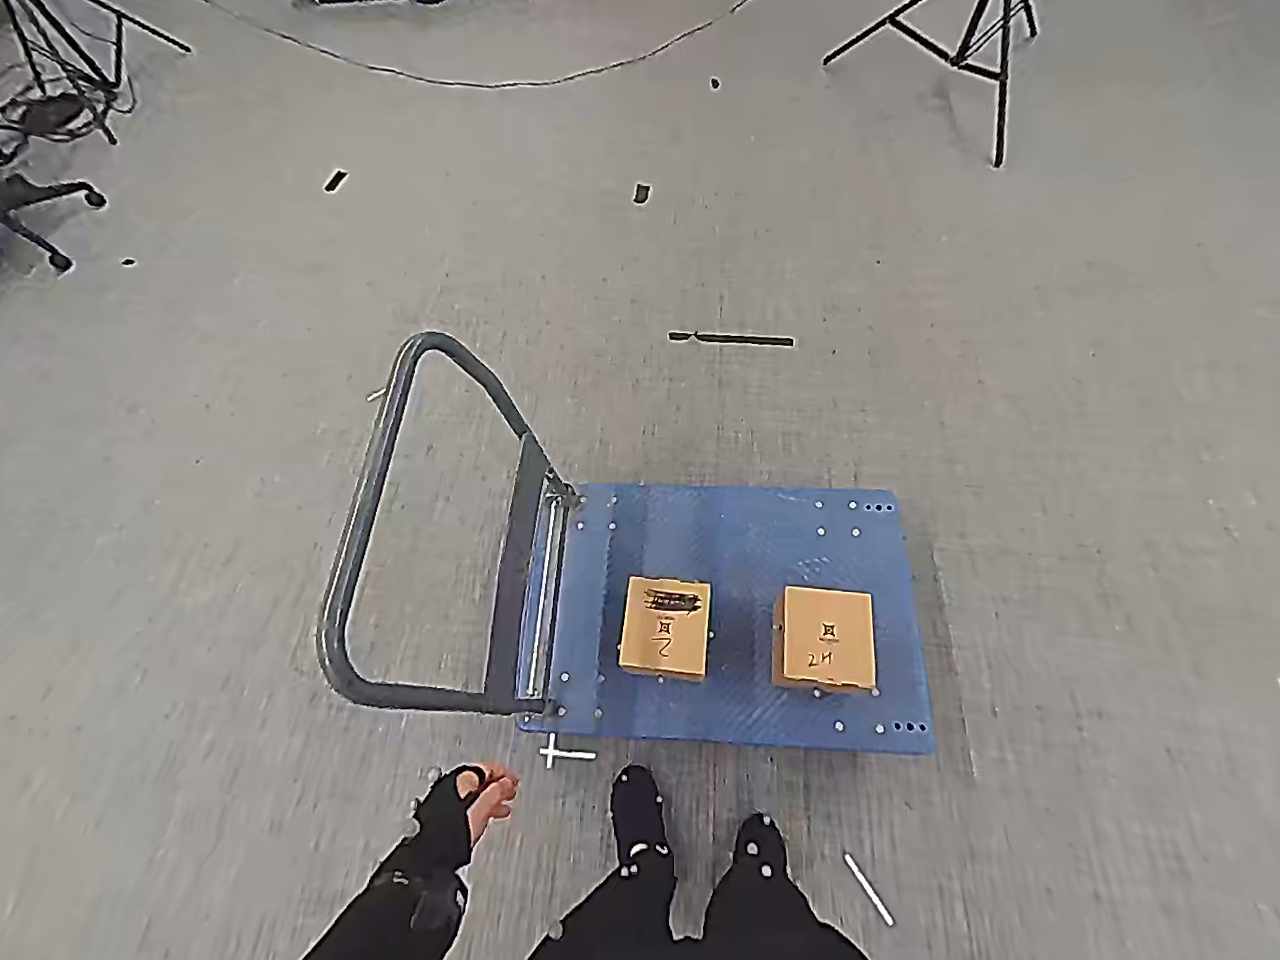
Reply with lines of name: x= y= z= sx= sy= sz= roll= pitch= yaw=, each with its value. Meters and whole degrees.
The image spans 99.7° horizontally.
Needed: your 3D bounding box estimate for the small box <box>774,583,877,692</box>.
small box: x=0.367 y=0.323 z=1.096 sx=0.168 sy=0.176 sz=0.179 roll=4 pitch=65 yaw=7
